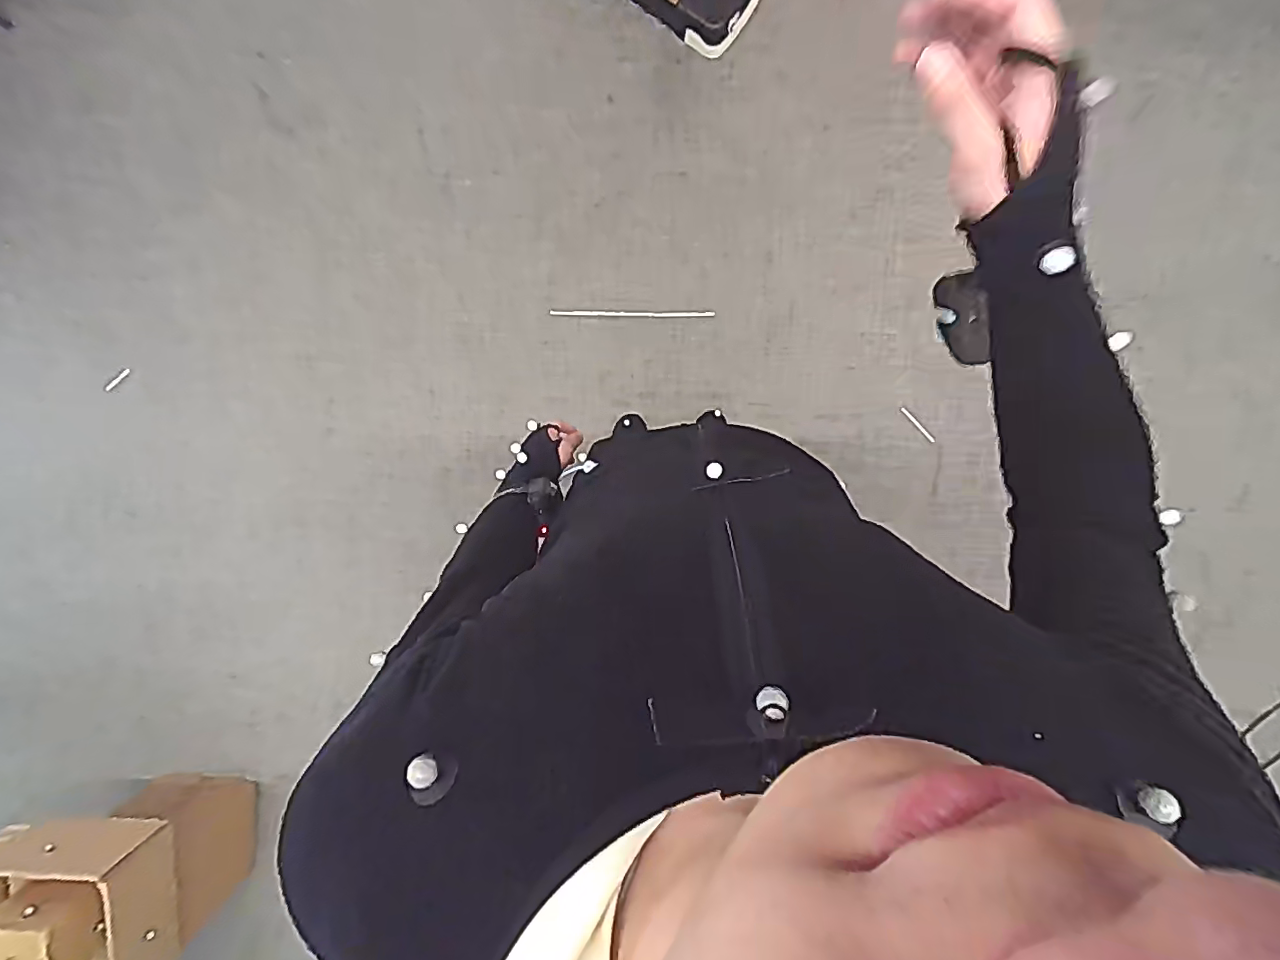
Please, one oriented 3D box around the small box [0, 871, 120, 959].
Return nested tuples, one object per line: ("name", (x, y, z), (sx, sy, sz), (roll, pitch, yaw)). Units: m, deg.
("small box", (-1.387, 1.058, 1.268), (0.179, 0.176, 0.168), (3, 95, 0))
